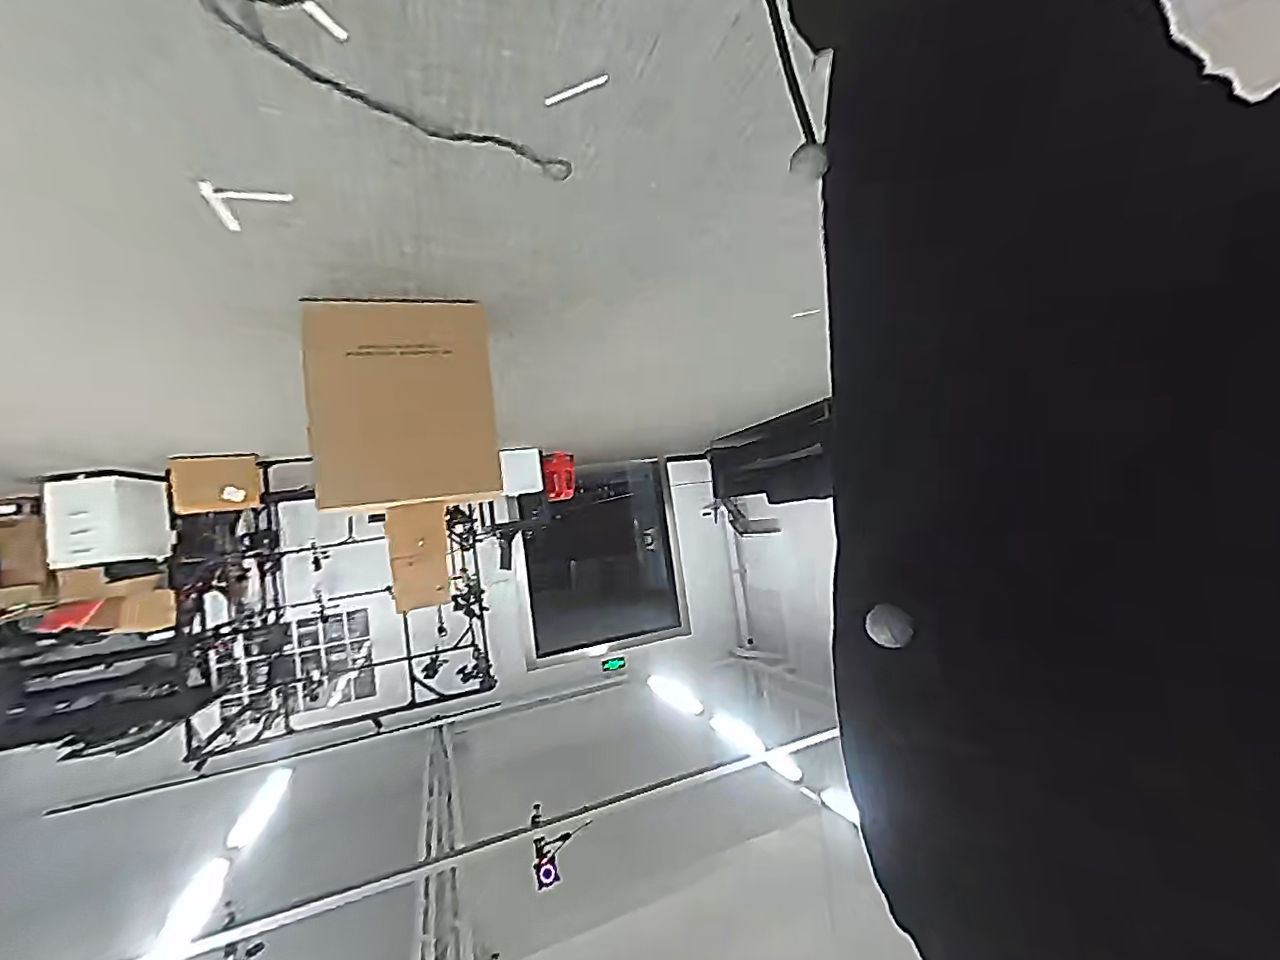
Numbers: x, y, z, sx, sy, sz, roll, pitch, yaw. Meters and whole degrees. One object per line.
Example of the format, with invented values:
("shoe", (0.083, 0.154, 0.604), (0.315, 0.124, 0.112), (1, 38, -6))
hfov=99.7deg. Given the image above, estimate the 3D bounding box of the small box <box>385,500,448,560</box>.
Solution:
("small box", (-0.729, 0.164, 1.770), (0.179, 0.176, 0.168), (-7, 176, -20))
